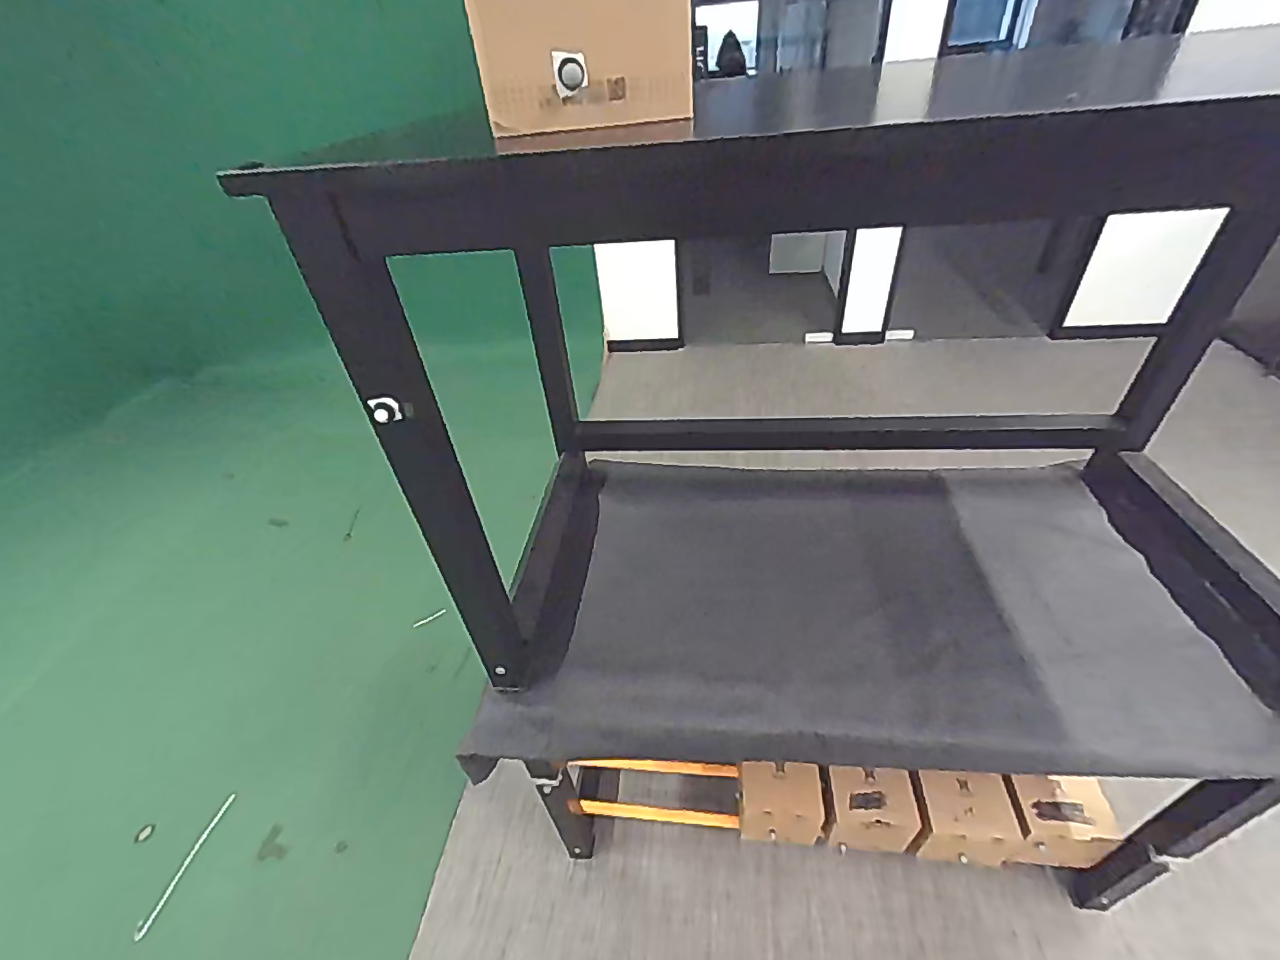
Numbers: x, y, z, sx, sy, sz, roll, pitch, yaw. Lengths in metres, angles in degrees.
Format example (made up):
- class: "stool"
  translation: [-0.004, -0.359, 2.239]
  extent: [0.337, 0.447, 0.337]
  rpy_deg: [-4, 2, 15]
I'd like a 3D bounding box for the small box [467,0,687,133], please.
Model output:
- class: "small box"
  translation: [-0.055, -0.407, 0.460]
  extent: [0.168, 0.176, 0.179]
  rpy_deg: [-8, 39, -1]
